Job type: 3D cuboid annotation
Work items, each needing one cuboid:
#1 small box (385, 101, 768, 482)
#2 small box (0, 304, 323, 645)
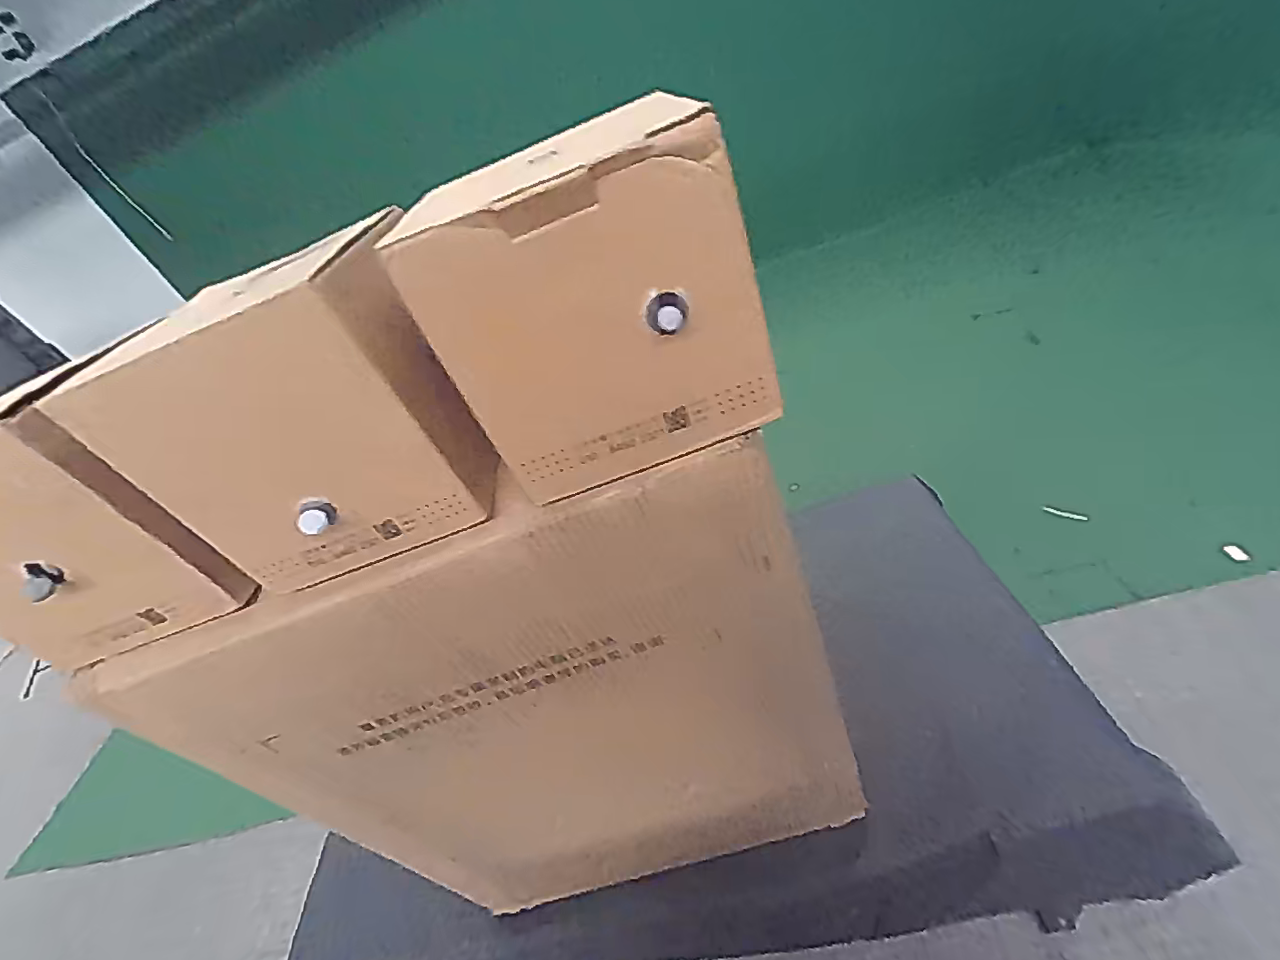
[{"bbox_3d":[-0.027,-0.118,0.355,0.168,0.176,0.179,-18,37,5],"label":"small box"},{"bbox_3d":[-0.386,0.002,0.411,0.168,0.176,0.179,-20,38,8],"label":"small box"}]
